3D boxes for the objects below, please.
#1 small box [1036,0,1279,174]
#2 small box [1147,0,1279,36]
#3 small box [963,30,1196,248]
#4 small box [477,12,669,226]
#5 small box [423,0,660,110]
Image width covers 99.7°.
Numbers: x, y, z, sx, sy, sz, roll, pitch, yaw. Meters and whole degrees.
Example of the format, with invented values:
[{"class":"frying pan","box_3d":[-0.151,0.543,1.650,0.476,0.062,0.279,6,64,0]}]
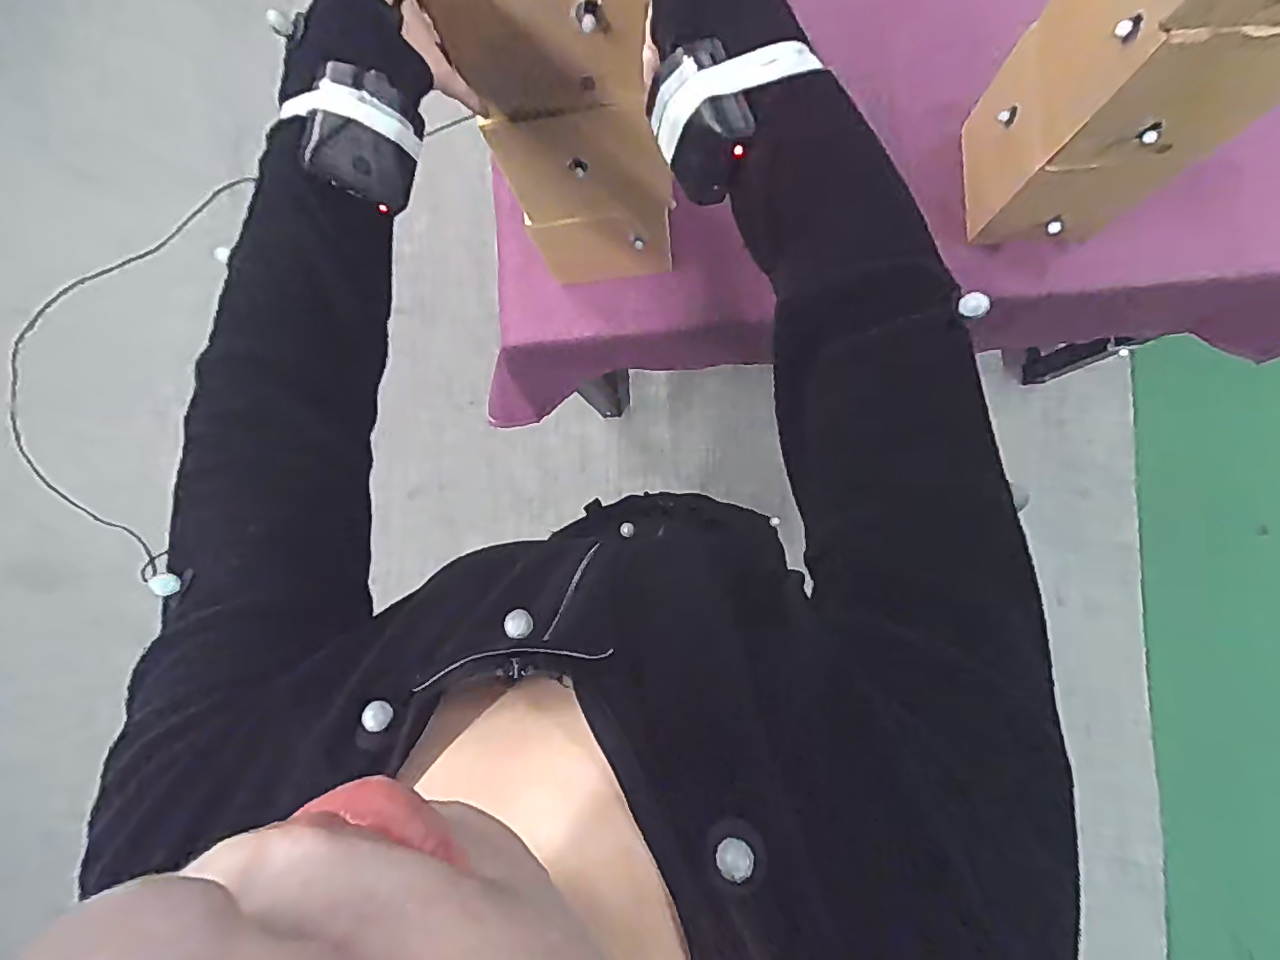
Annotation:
[{"class":"small box","box_3d":[0.512,-0.427,0.513,0.168,0.176,0.179,-1,87,6]},{"class":"small box","box_3d":[0.492,-0.435,0.350,0.179,0.176,0.168,1,87,6]},{"class":"small box","box_3d":[0.527,-0.416,0.675,0.168,0.176,0.179,0,87,7]},{"class":"small box","box_3d":[-0.061,-0.398,0.574,0.179,0.176,0.168,-5,85,6]},{"class":"small box","box_3d":[-0.072,-0.418,0.413,0.168,0.176,0.179,-1,85,4]}]
